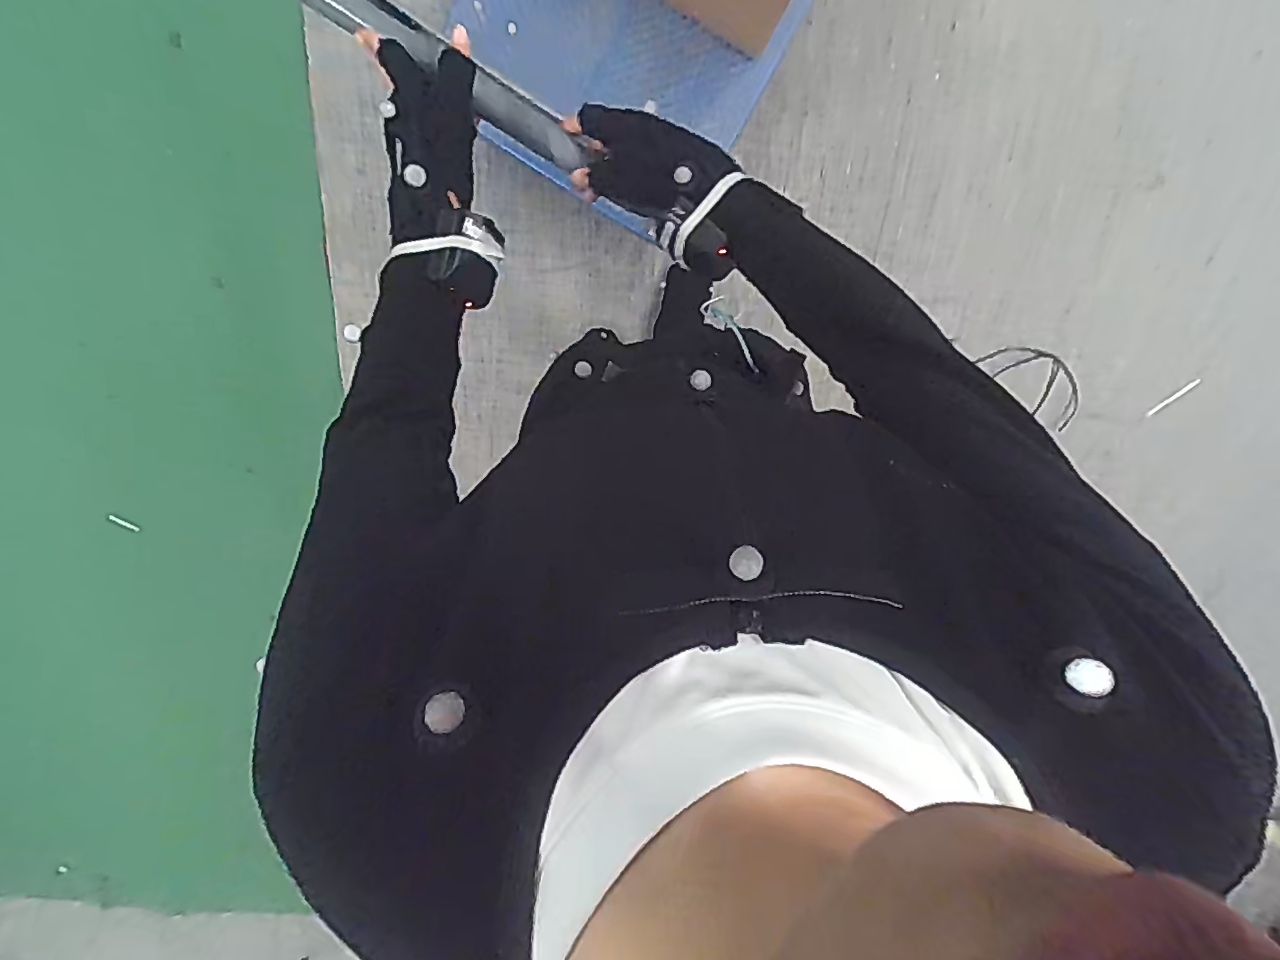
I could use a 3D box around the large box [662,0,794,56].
[{"bbox_3d":[0.117,-0.963,0.829,0.408,0.320,0.320,26,109,-8],"label":"large box"}]
